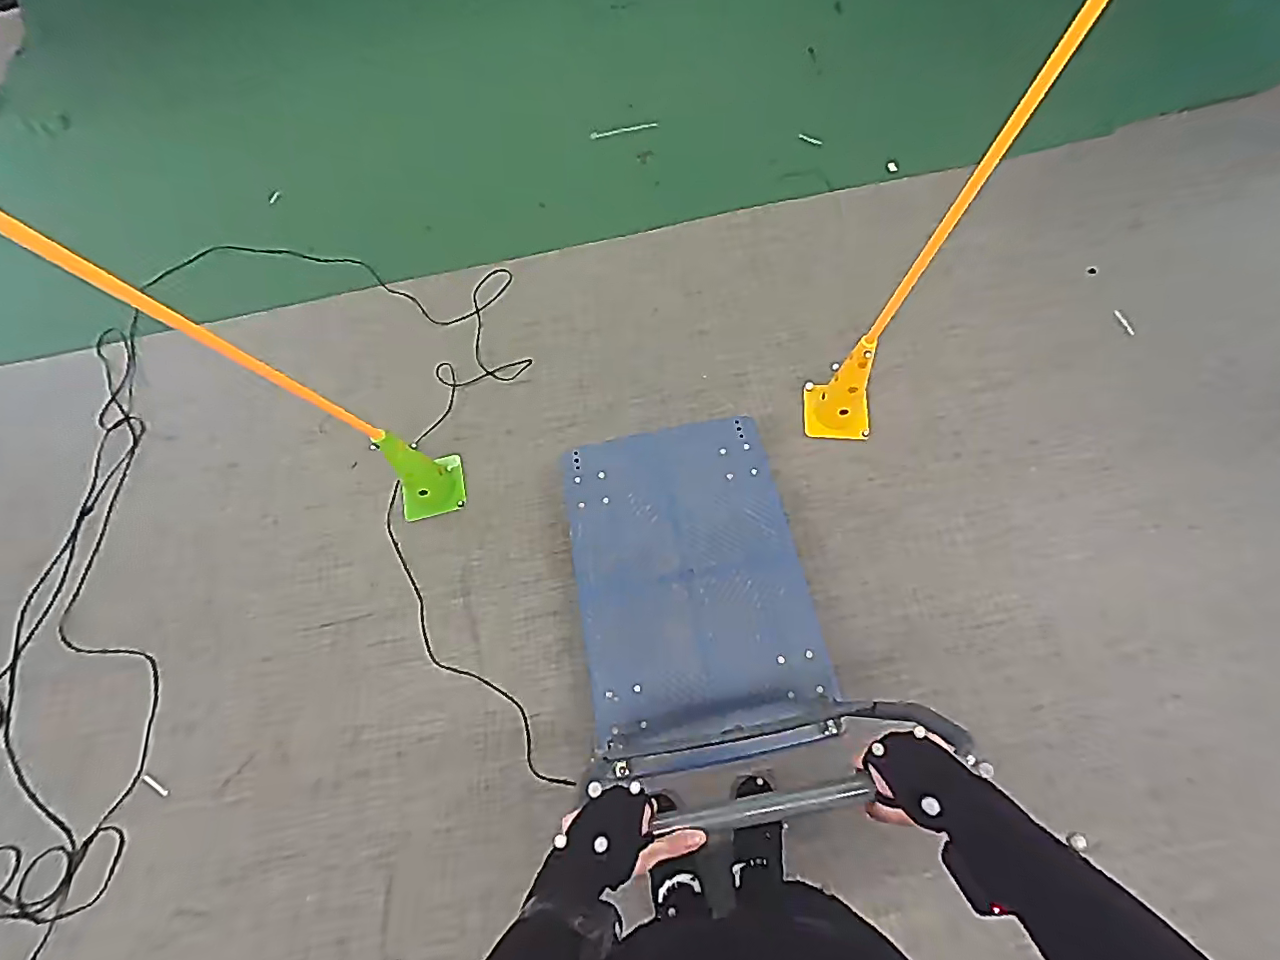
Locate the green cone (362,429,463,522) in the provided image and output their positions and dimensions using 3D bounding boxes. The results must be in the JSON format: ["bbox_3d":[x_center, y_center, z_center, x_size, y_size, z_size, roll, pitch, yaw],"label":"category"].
[{"bbox_3d":[-0.692,-0.048,1.587,0.202,0.368,0.200,-16,64,-1],"label":"green cone"}]
